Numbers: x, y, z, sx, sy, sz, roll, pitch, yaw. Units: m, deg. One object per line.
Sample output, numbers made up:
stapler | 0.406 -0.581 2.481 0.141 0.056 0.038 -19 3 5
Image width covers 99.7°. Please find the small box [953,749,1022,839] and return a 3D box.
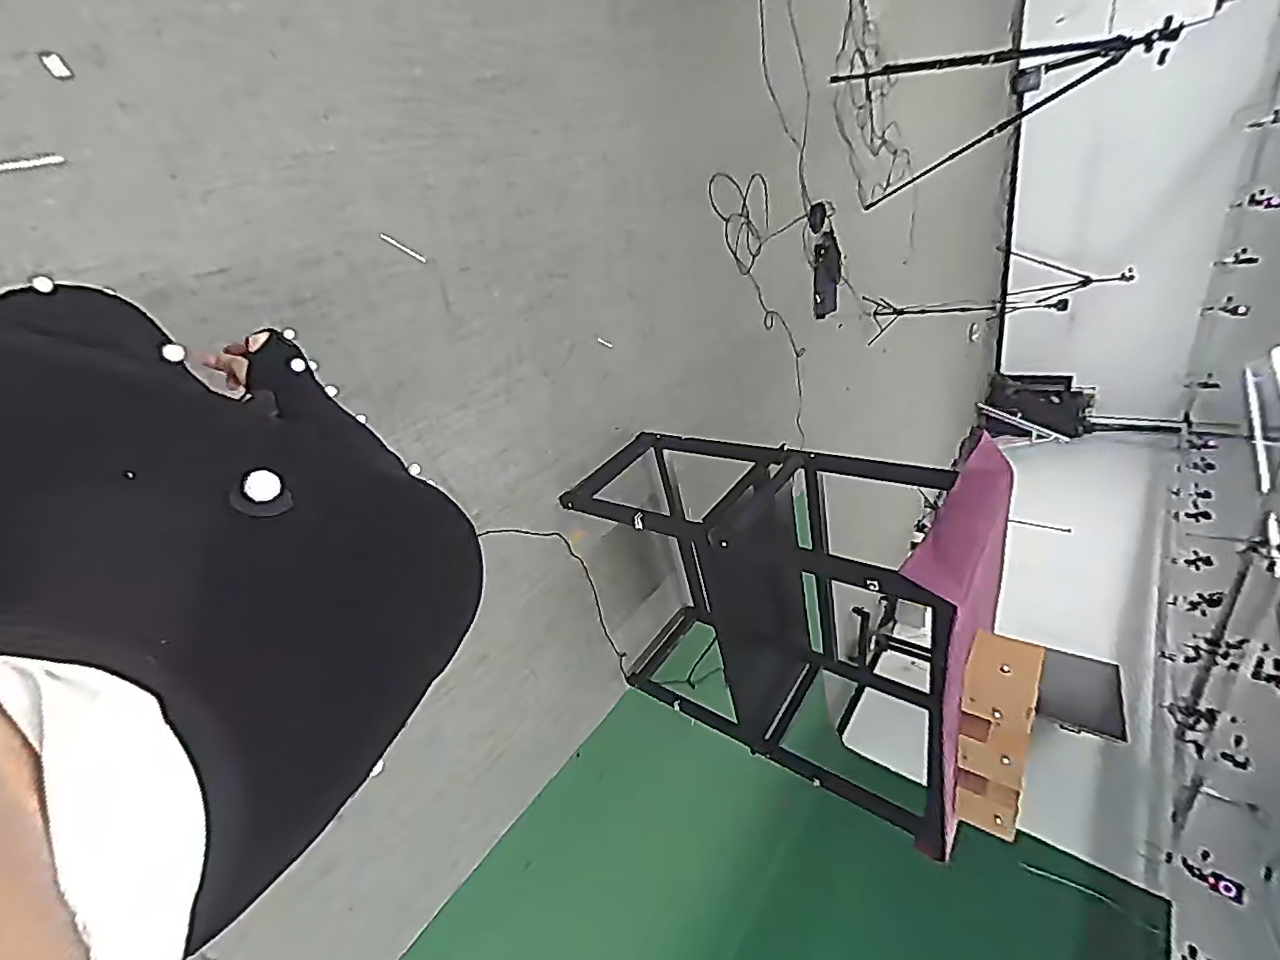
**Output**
small box | 1.138 1.018 1.774 0.168 0.176 0.179 -41 127 -39

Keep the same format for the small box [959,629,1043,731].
small box | 1.005 0.551 1.510 0.179 0.176 0.168 -40 127 -40
